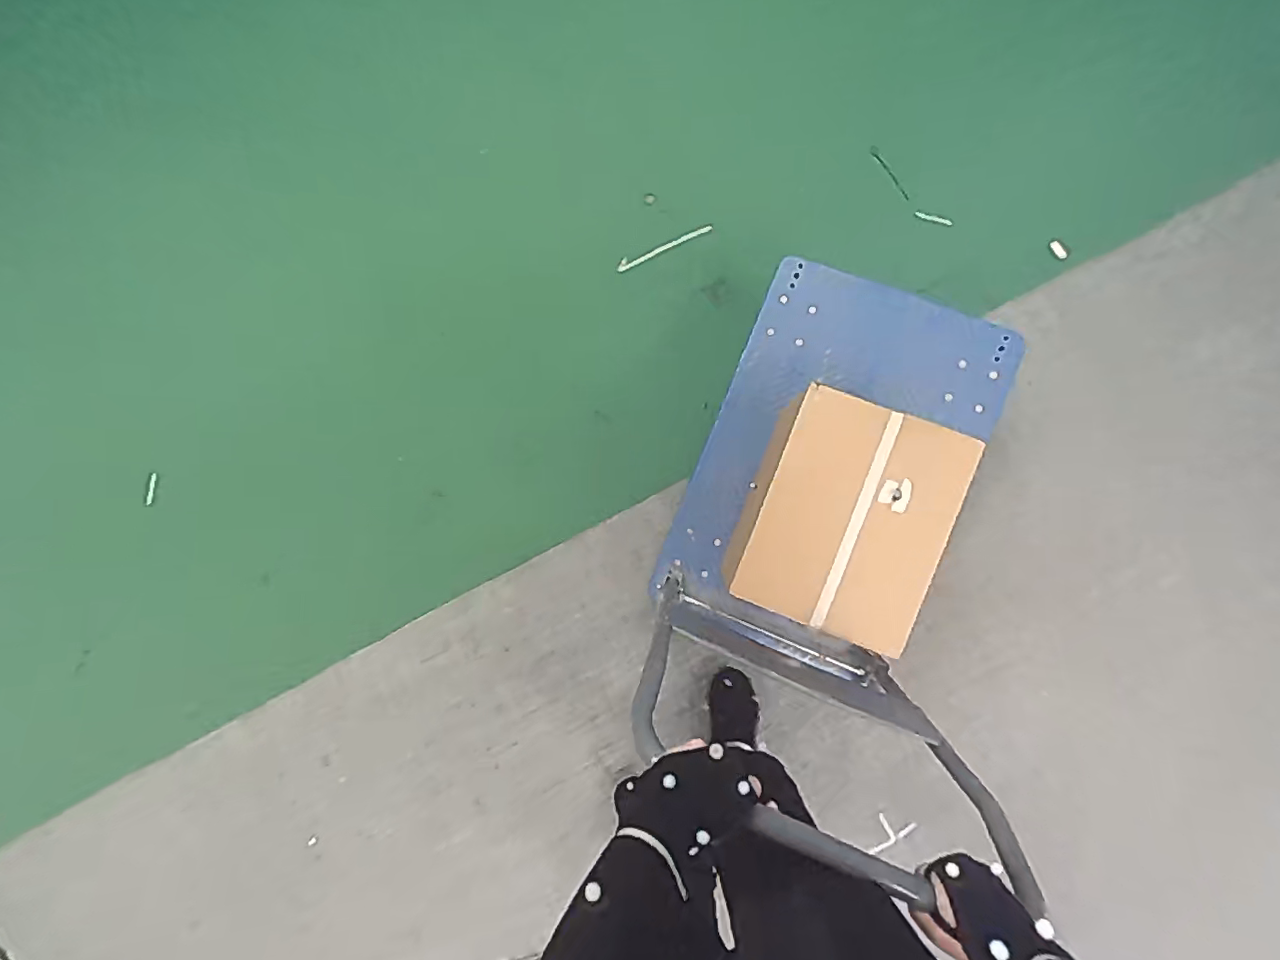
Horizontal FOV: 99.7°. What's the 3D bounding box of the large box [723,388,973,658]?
[{"bbox_3d":[0.380,0.077,1.094,0.320,0.320,0.408,21,92,5],"label":"large box"}]
